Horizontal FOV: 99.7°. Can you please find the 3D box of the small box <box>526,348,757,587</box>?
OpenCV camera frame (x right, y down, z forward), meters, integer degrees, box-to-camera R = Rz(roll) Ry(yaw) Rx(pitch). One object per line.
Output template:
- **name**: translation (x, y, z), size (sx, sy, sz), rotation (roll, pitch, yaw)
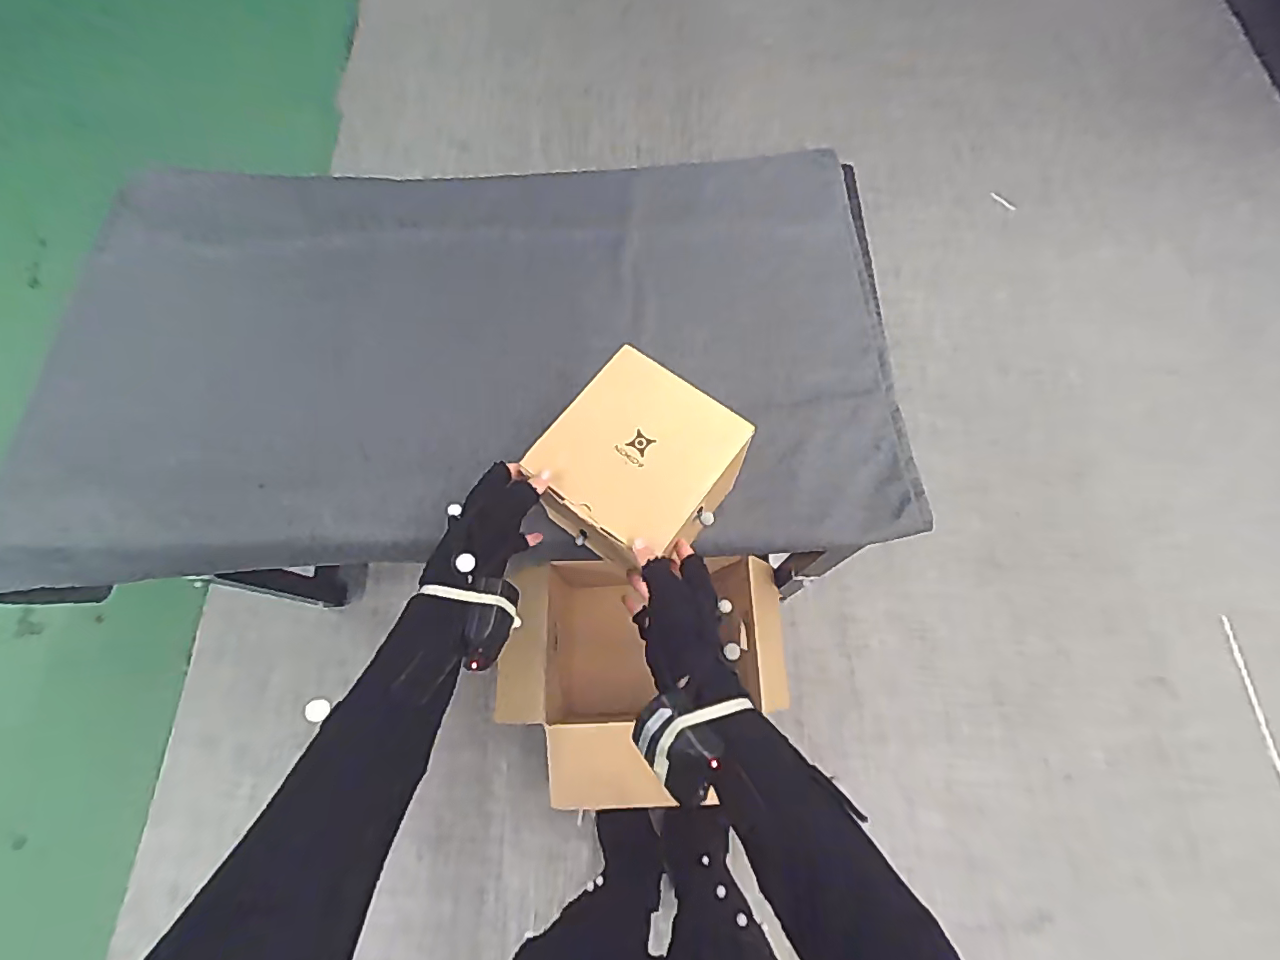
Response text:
- **small box**: translation (0.002, -0.004, 0.604), size (0.168, 0.176, 0.179), rotation (35, 75, 13)
